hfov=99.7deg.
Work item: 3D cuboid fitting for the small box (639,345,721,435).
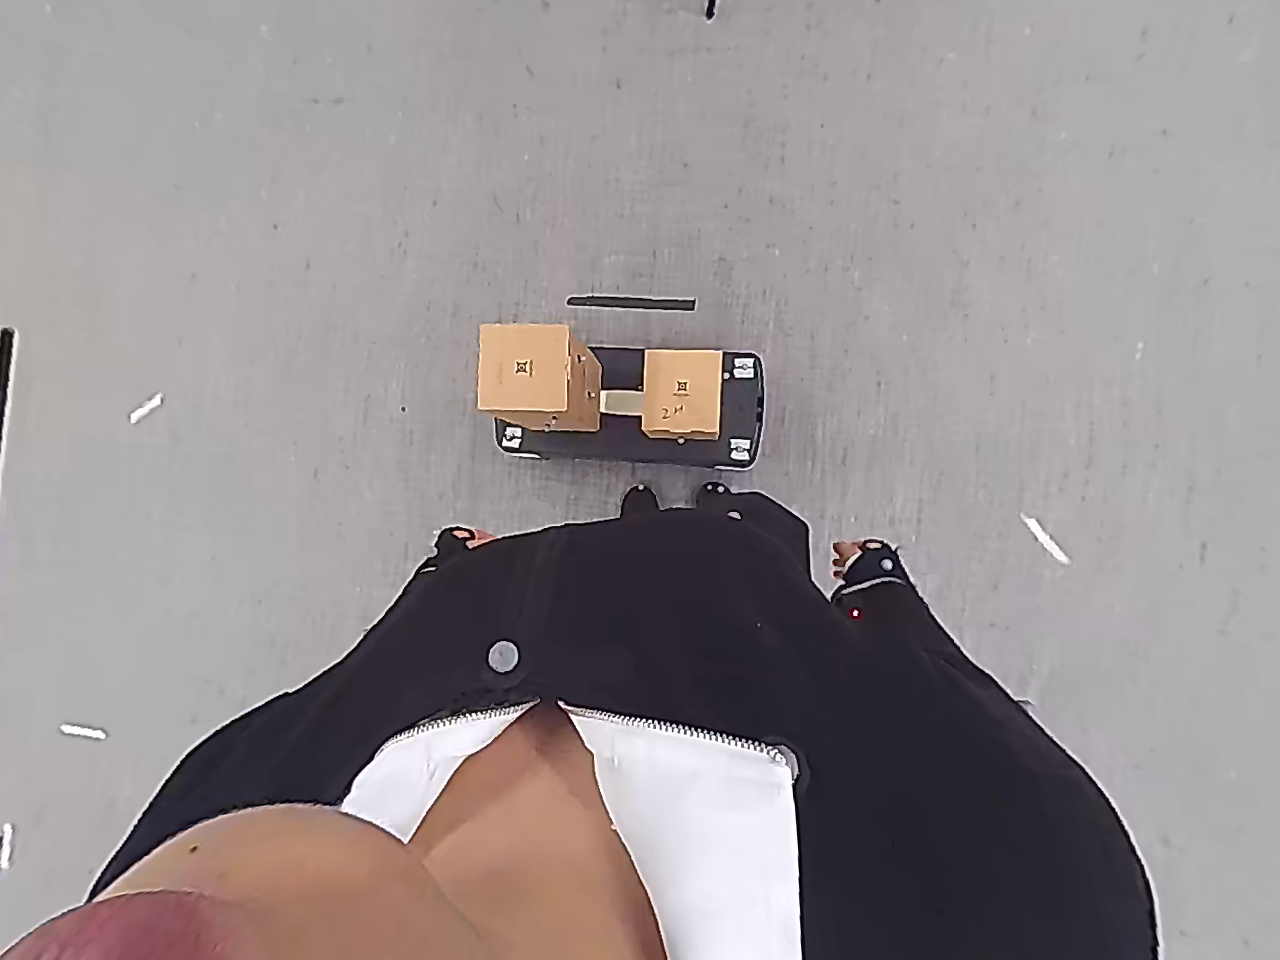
[{"bbox_3d":[0.094,-0.195,1.228,0.168,0.176,0.179,4,90,7],"label":"small box"}]

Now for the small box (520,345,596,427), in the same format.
[{"bbox_3d":[-0.195,-0.212,1.258,0.179,0.176,0.168,2,90,6],"label":"small box"}]

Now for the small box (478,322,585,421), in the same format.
[{"bbox_3d":[-0.212,-0.214,1.095,0.179,0.176,0.168,1,88,6],"label":"small box"}]
